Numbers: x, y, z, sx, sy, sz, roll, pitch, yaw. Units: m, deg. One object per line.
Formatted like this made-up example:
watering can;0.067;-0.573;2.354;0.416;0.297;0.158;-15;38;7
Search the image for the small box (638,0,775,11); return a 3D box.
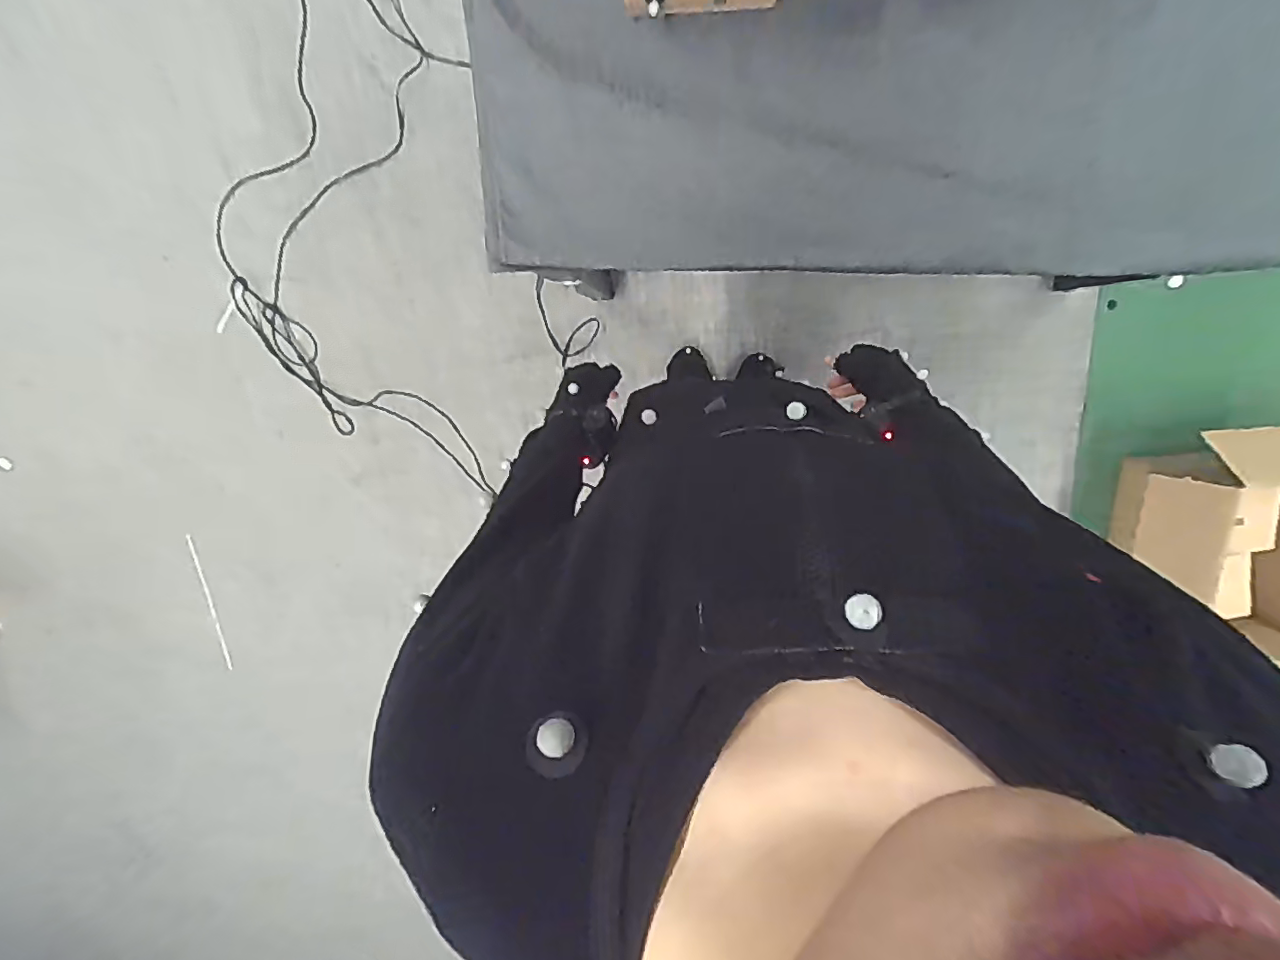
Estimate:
small box;0.064;-0.584;0.508;0.168;0.176;0.179;0;103;4
